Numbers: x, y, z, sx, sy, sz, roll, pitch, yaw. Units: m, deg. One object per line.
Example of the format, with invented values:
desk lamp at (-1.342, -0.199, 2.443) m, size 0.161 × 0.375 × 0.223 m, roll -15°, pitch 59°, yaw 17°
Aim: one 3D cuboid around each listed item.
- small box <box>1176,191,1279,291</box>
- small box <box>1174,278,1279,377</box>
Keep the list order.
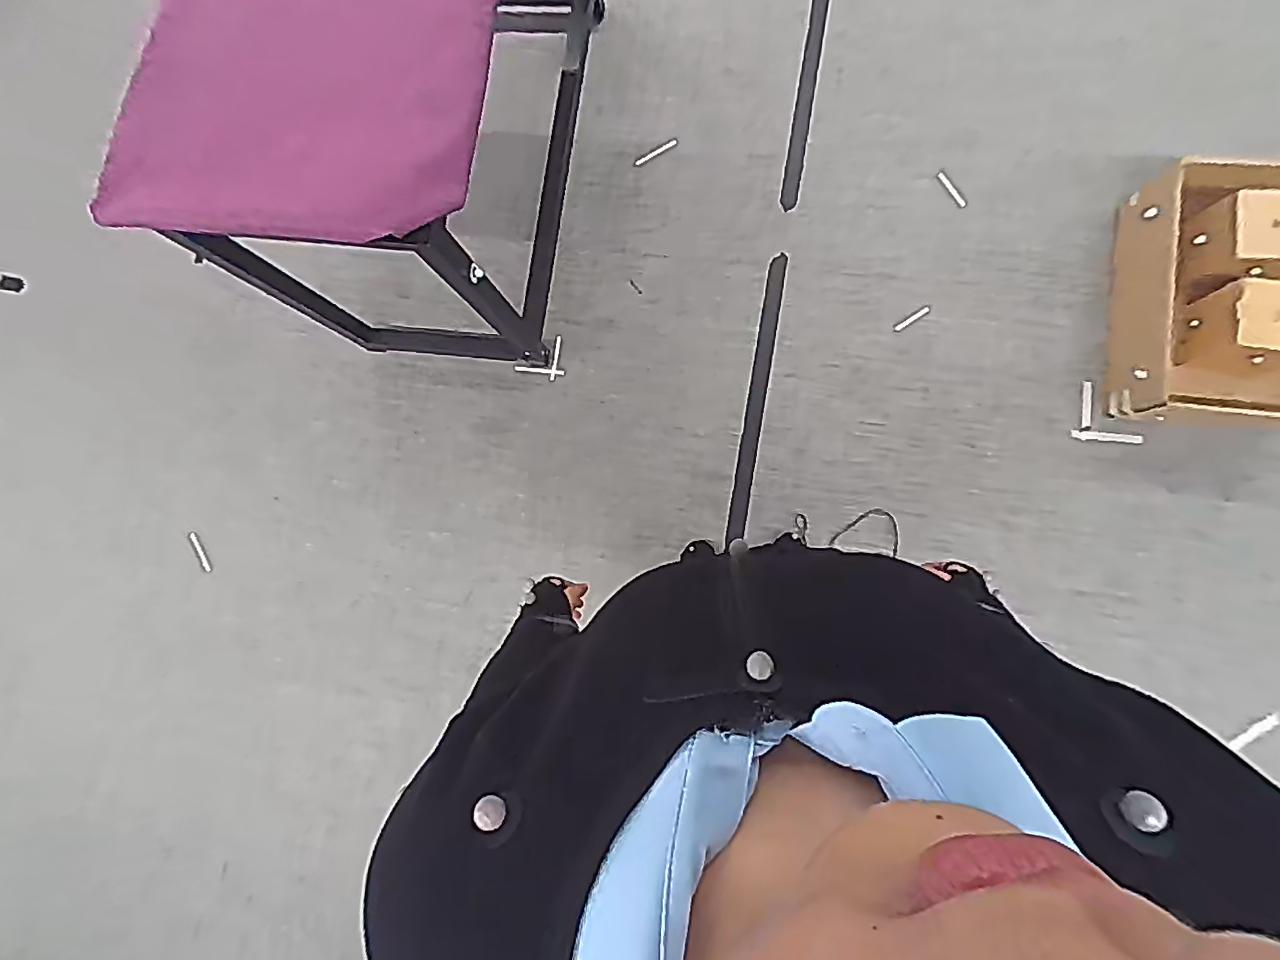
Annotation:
small box at (1.471, -0.575, 1.318) m, size 0.179 × 0.176 × 0.168 m, roll 6°, pitch 87°, yaw 7°
small box at (1.461, -0.357, 1.300) m, size 0.179 × 0.176 × 0.168 m, roll 13°, pitch 85°, yaw 8°
